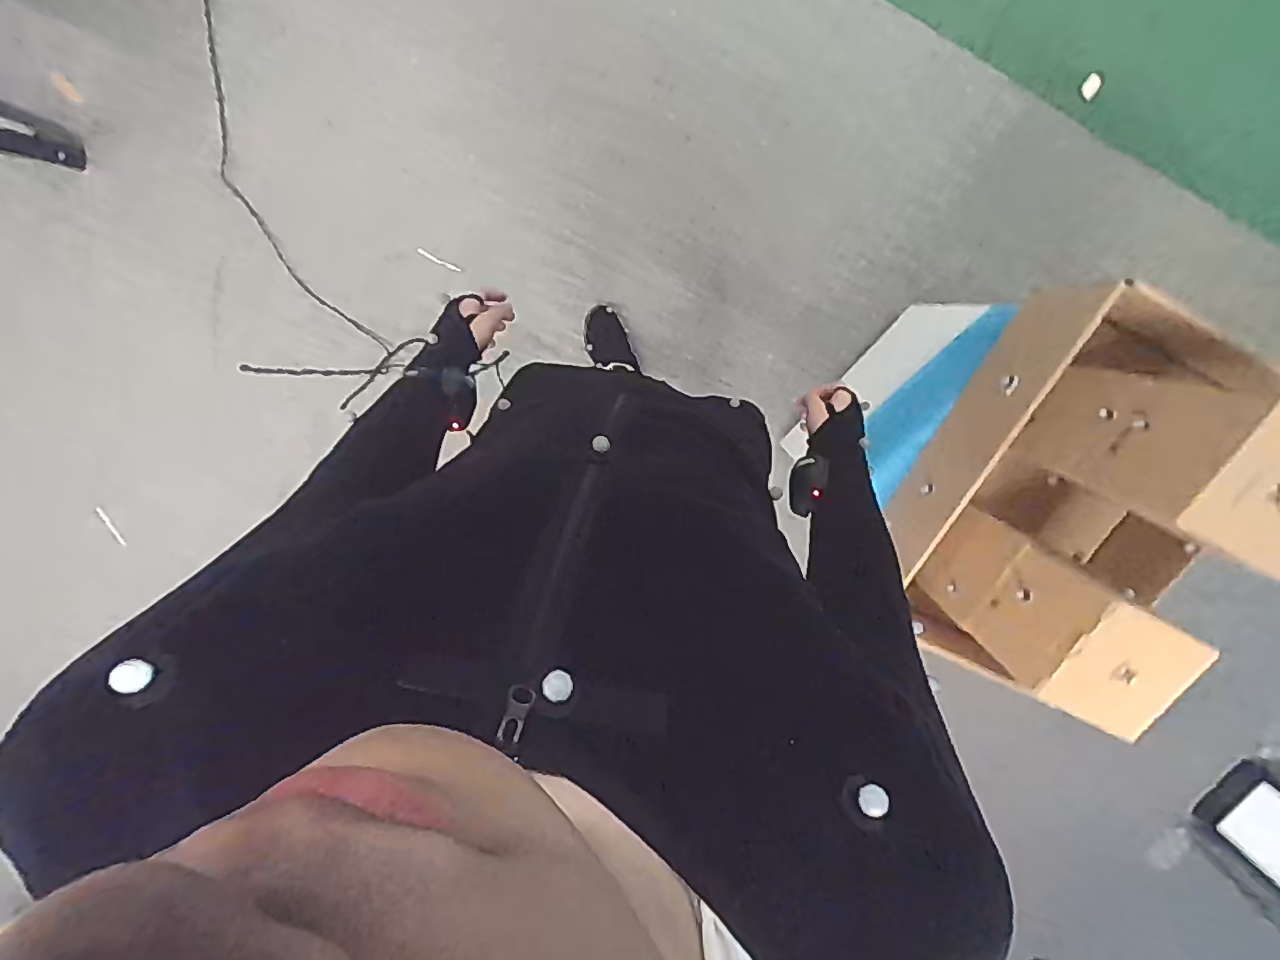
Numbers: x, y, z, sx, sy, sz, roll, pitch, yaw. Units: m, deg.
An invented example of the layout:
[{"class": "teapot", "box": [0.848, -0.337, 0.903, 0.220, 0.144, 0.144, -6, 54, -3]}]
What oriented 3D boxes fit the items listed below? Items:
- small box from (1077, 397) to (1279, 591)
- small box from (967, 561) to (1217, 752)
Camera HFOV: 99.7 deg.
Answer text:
[{"class": "small box", "box": [0.743, 0.007, 0.702, 0.179, 0.176, 0.168, 26, 107, -8]}, {"class": "small box", "box": [0.630, 0.242, 0.778, 0.179, 0.176, 0.168, 26, 106, -8]}]
